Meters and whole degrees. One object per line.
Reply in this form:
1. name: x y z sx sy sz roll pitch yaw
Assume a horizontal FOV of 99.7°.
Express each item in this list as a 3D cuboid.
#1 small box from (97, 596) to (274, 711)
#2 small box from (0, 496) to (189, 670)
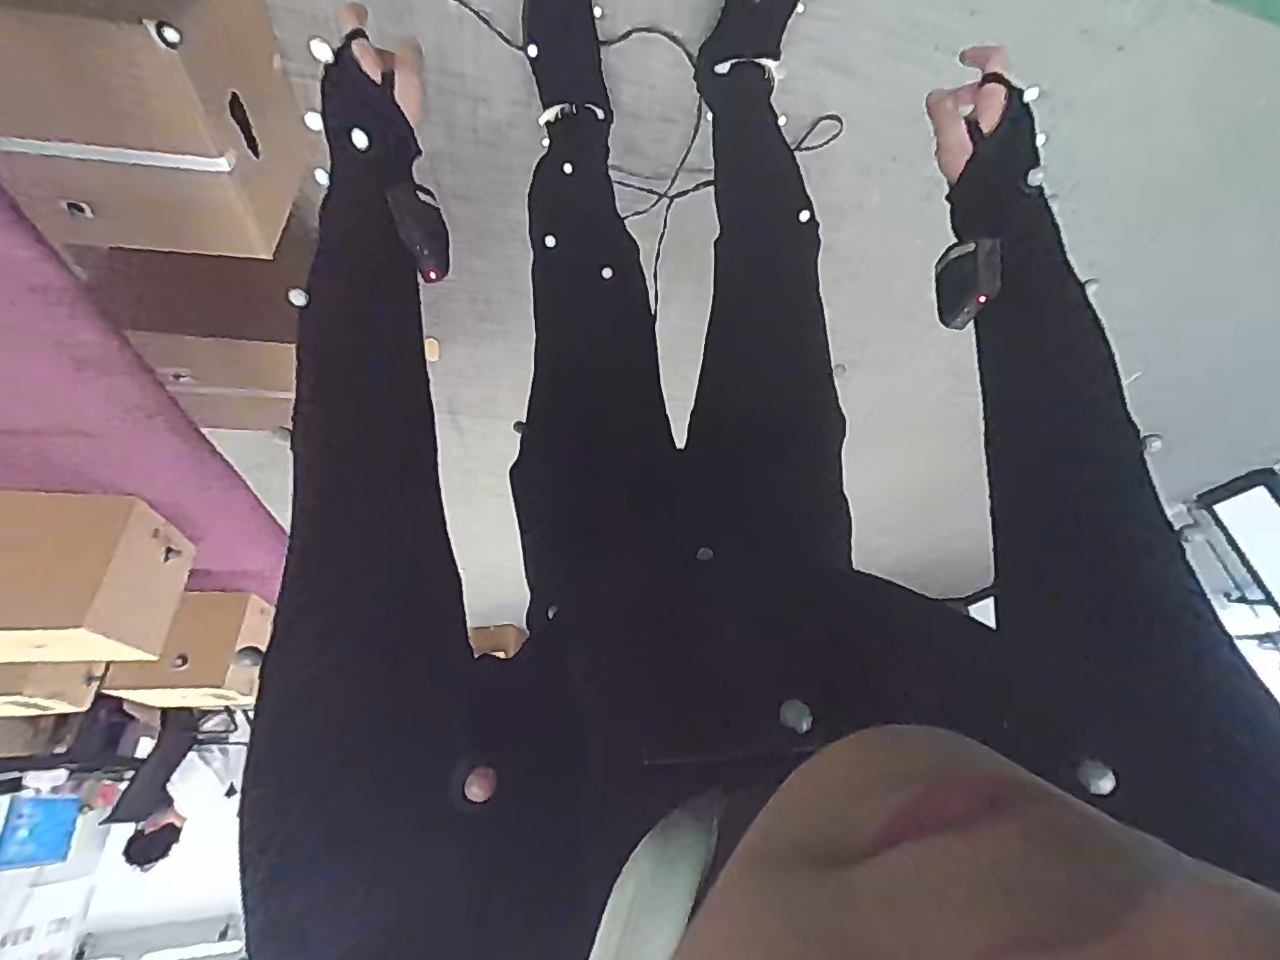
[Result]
1. small box: -0.791 0.312 0.971 0.179 0.176 0.168 3 149 -11
2. small box: -0.716 0.129 0.667 0.179 0.176 0.168 4 150 -14
